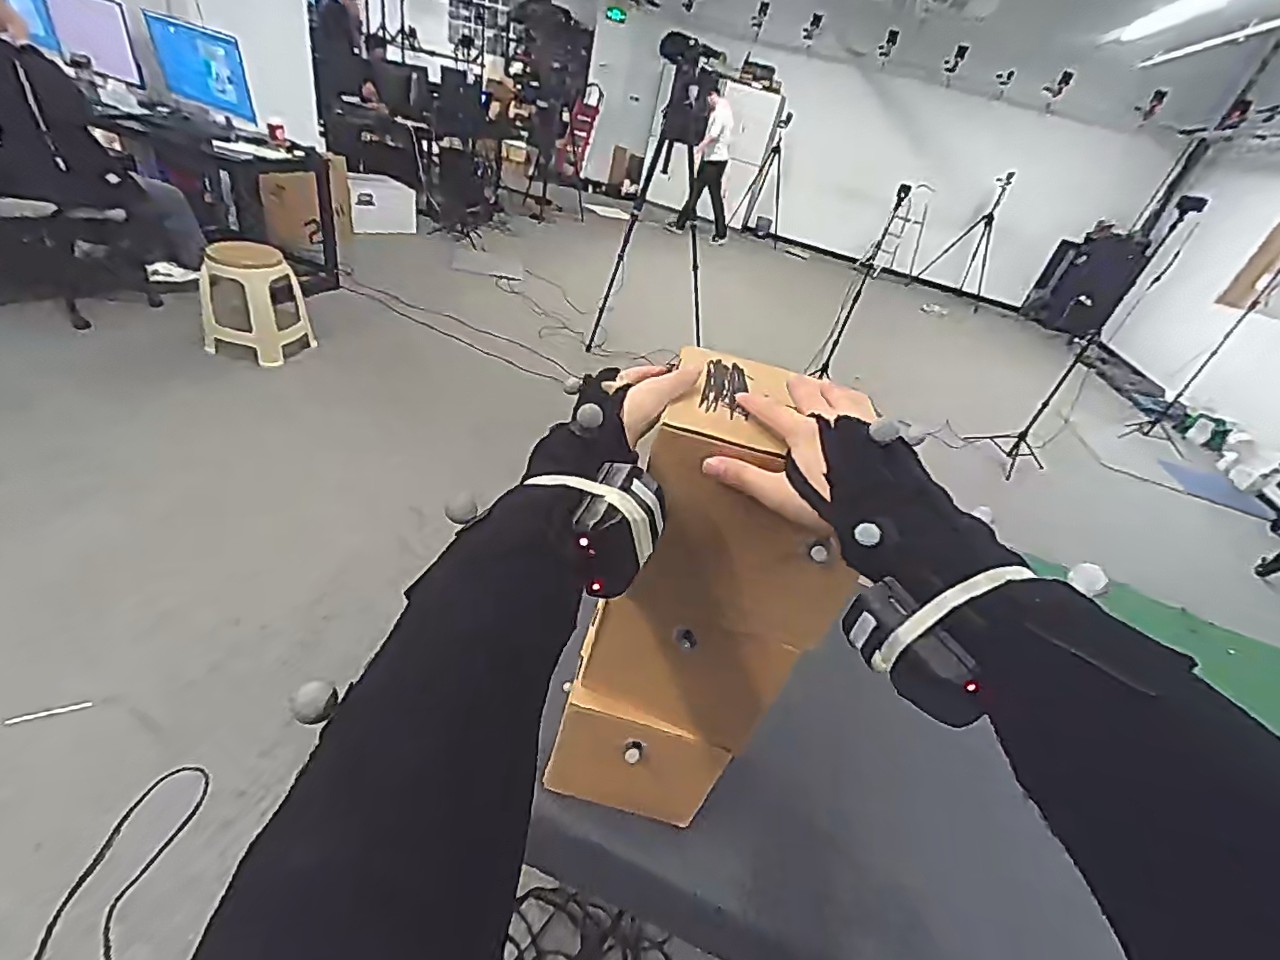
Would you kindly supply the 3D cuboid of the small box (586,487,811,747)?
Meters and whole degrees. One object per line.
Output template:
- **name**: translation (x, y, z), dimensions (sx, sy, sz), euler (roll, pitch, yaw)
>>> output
- **small box**: translation (0.059, 0.140, 0.563), dimensions (0.179, 0.176, 0.168), euler (21, 34, 8)

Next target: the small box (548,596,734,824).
- **small box**: translation (0.004, 0.273, 0.641), dimensions (0.179, 0.176, 0.168), euler (16, 33, 1)
